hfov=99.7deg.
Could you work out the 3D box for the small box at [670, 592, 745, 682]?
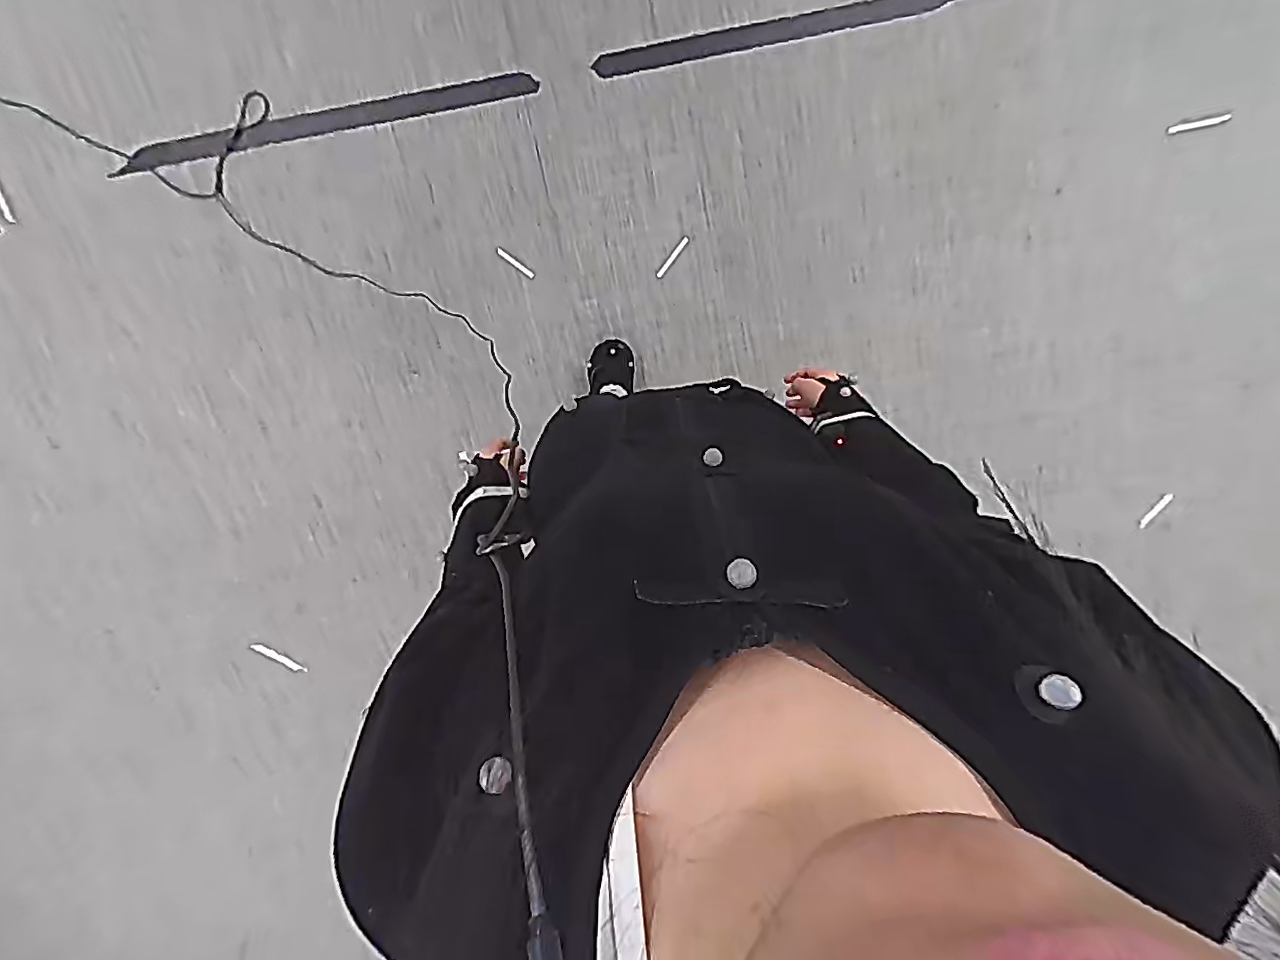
[{"bbox_3d":[0.184,0.430,1.515,0.168,0.176,0.179,-13,104,2],"label":"small box"}]
